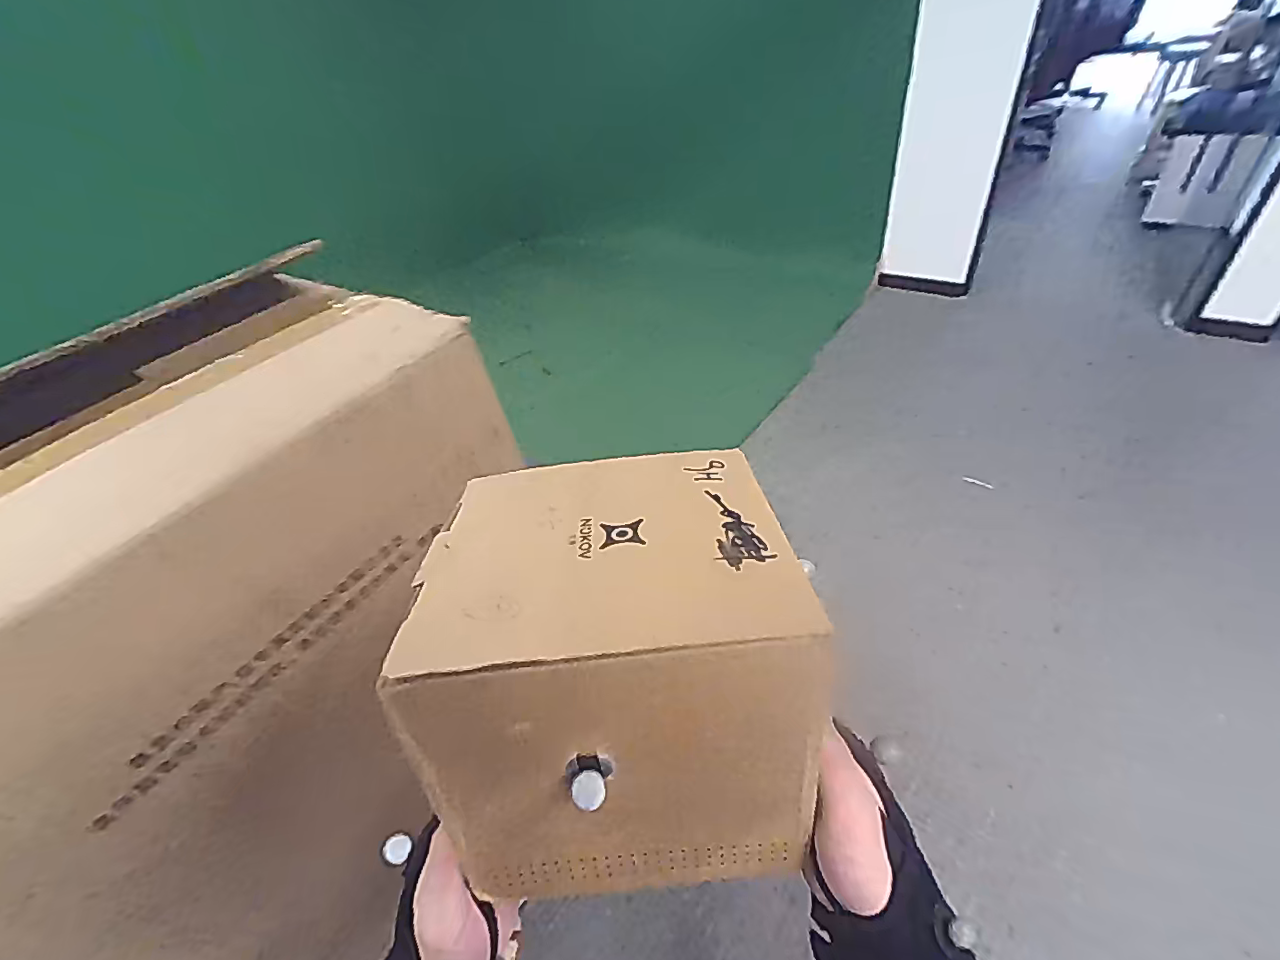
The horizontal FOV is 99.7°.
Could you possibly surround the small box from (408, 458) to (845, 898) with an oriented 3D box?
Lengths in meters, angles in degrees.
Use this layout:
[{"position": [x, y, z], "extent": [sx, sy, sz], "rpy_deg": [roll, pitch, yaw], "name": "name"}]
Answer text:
[{"position": [0.000, 0.105, 0.313], "extent": [0.179, 0.176, 0.168], "rpy_deg": [-6, 28, 0], "name": "small box"}]
